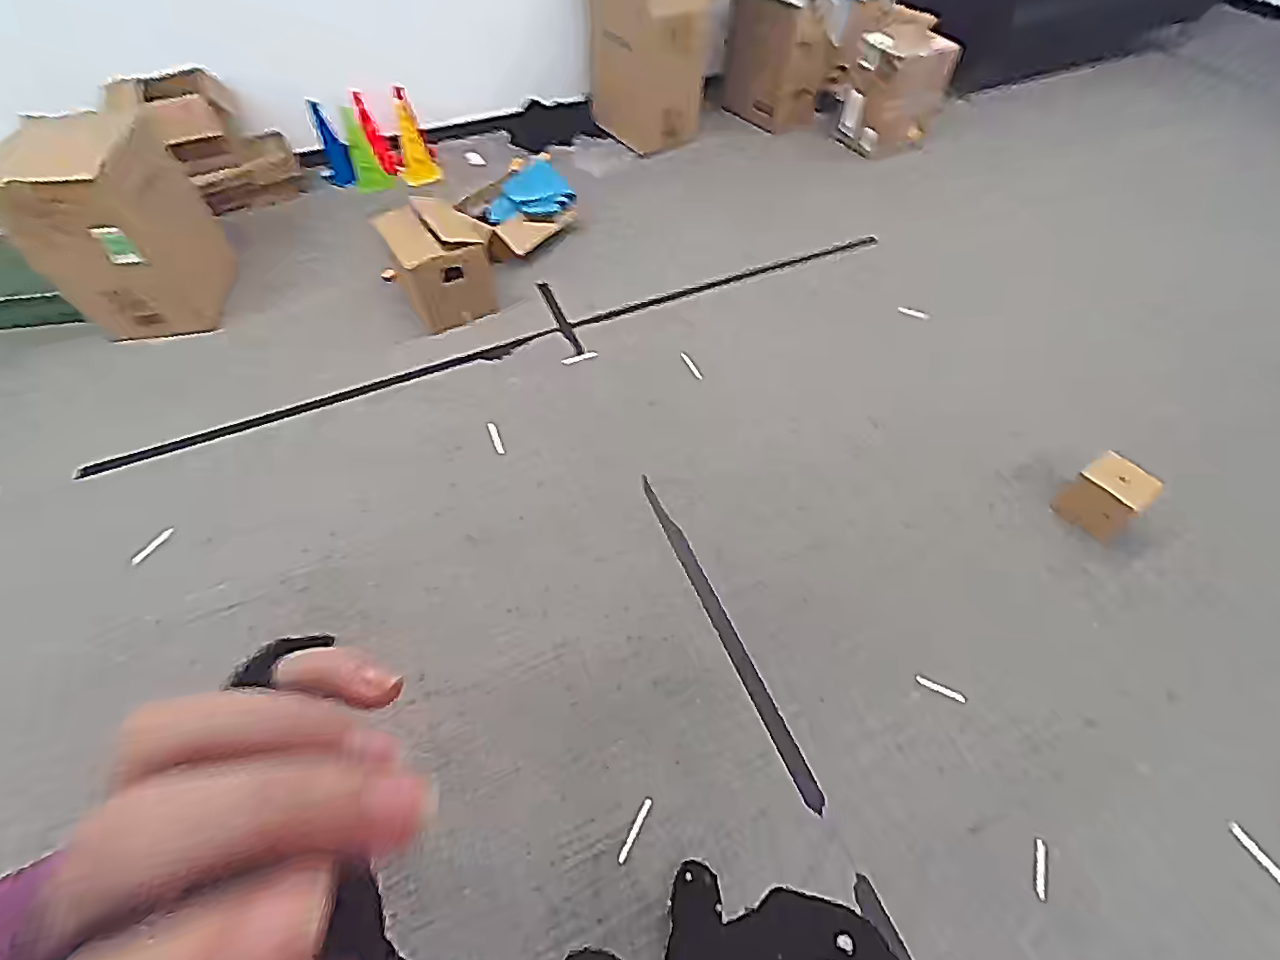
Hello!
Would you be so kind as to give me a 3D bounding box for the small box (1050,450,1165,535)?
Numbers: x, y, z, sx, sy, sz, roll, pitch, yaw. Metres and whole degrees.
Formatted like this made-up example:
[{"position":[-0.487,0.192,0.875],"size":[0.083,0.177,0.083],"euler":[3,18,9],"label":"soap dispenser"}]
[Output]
[{"position":[1.435,0.046,1.671],"size":[0.168,0.176,0.179],"euler":[-30,58,-21],"label":"small box"}]
